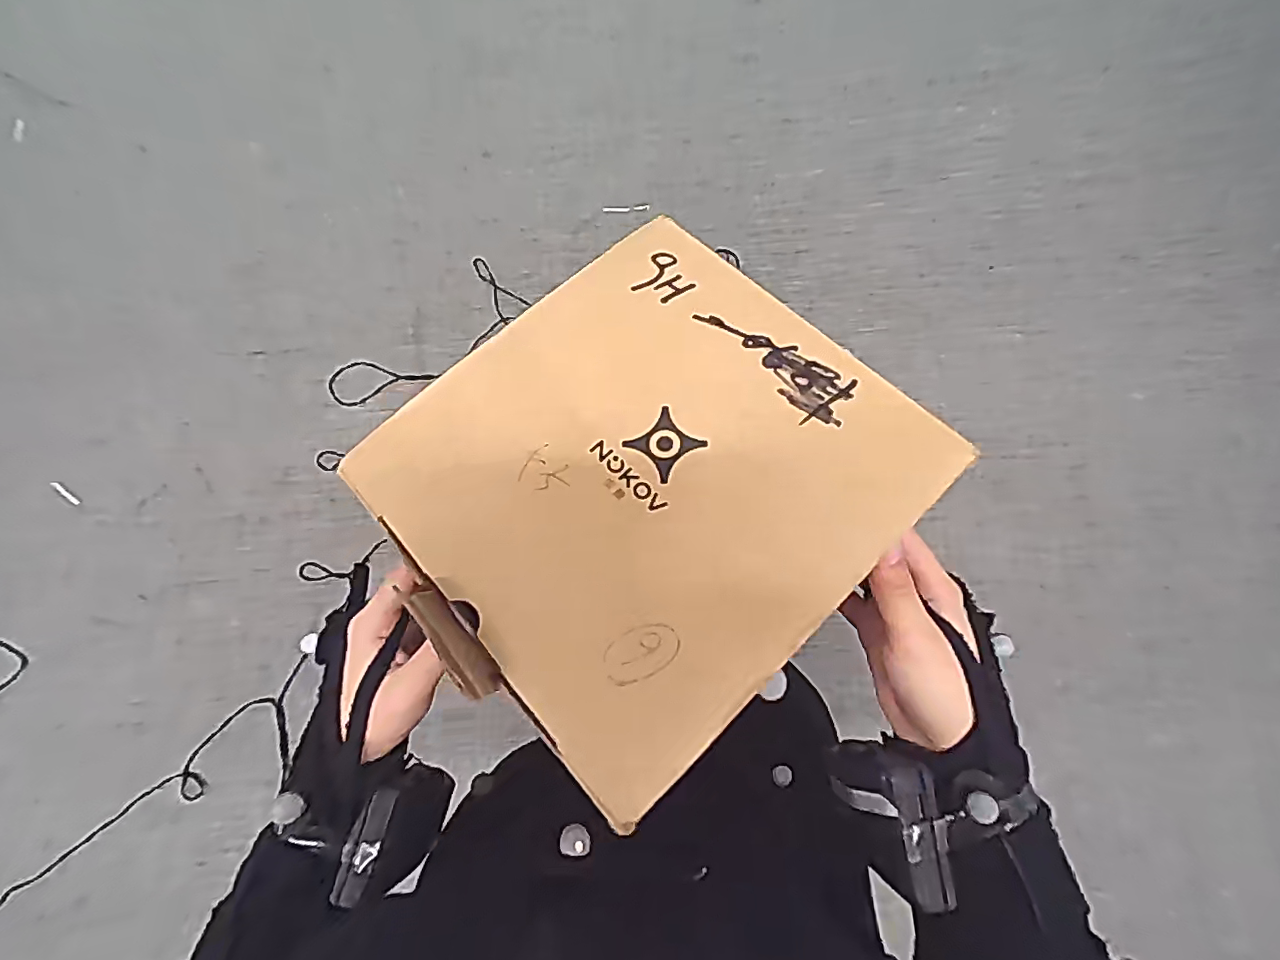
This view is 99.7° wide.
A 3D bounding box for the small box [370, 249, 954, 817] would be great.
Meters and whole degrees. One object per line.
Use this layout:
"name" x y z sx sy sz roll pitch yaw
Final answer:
"small box" 0.010 0.029 0.287 0.179 0.176 0.168 -42 72 -12
